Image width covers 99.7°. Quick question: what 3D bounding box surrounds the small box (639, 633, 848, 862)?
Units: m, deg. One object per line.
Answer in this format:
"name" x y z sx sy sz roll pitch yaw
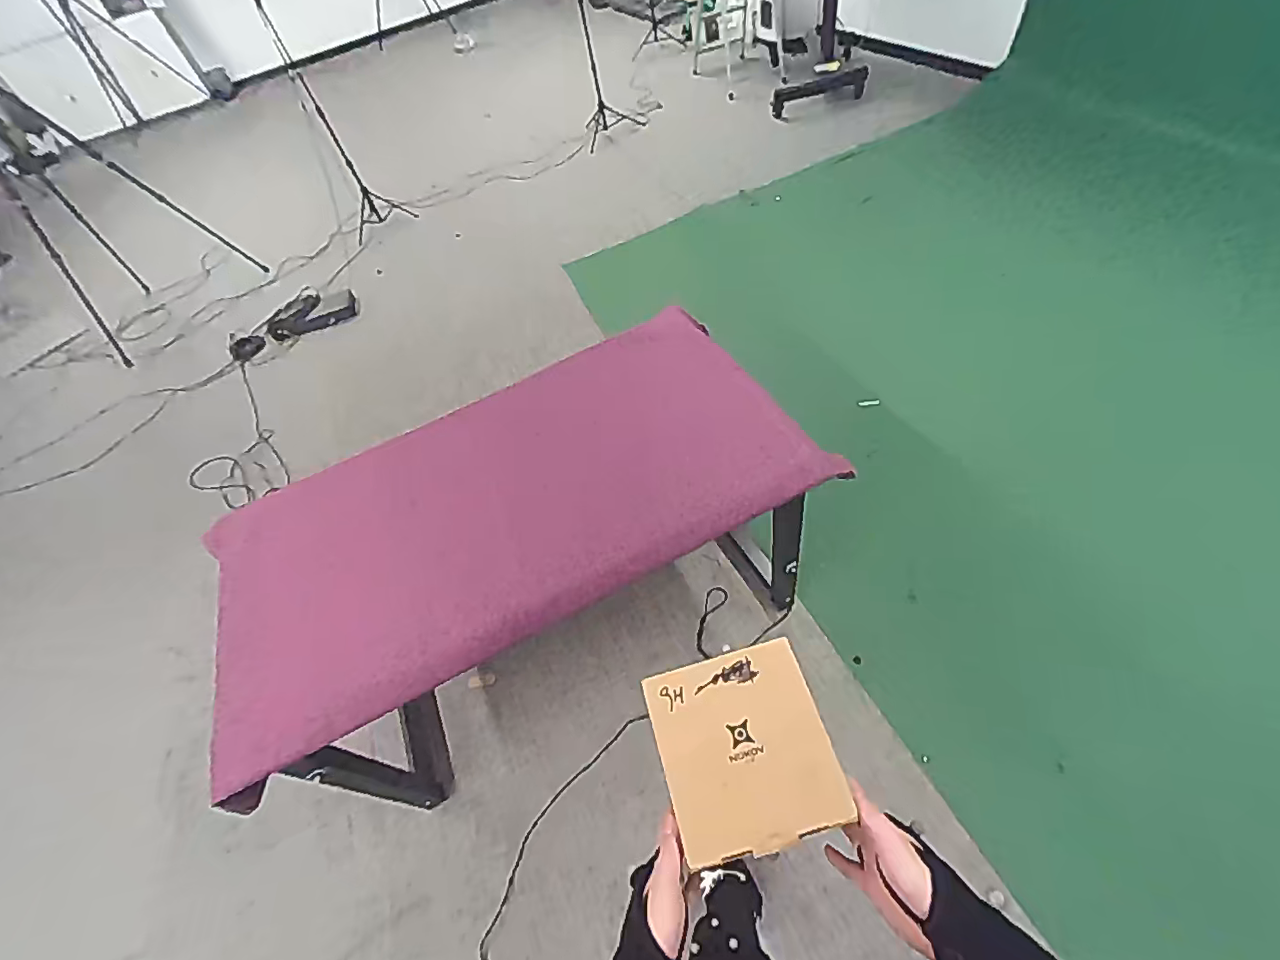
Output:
"small box" 0.107 0.296 0.608 0.168 0.176 0.179 -16 59 -2
